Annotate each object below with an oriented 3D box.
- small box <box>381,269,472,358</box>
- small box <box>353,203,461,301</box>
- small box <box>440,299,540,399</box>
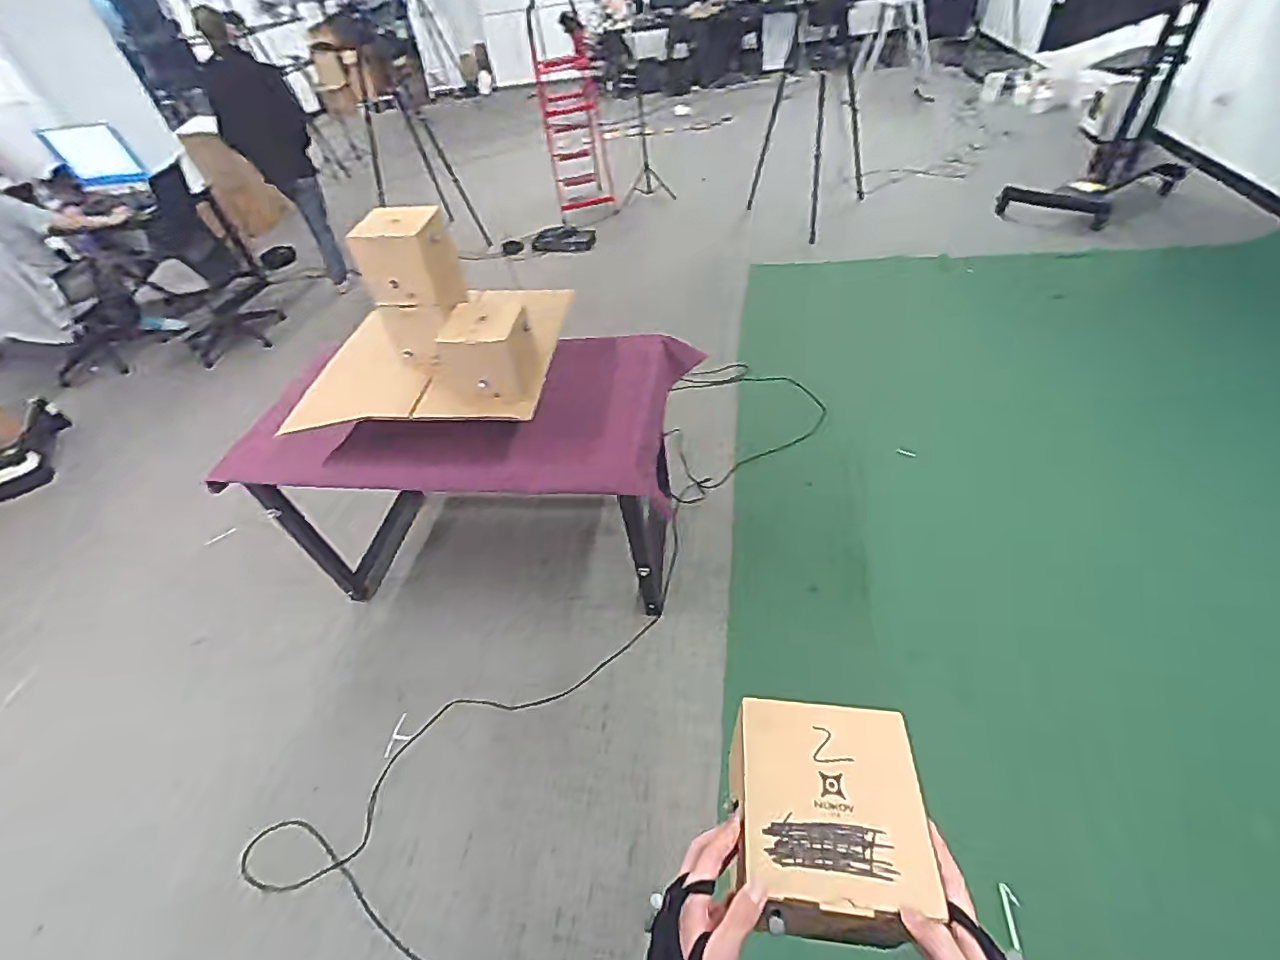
[{"bbox_3d":[-0.539,-0.435,1.424,0.168,0.176,0.179,1,46,6],"label":"small box"},{"bbox_3d":[-0.551,-0.552,1.313,0.168,0.176,0.179,1,48,5],"label":"small box"},{"bbox_3d":[-0.345,-0.314,1.290,0.168,0.176,0.179,1,47,8],"label":"small box"}]
